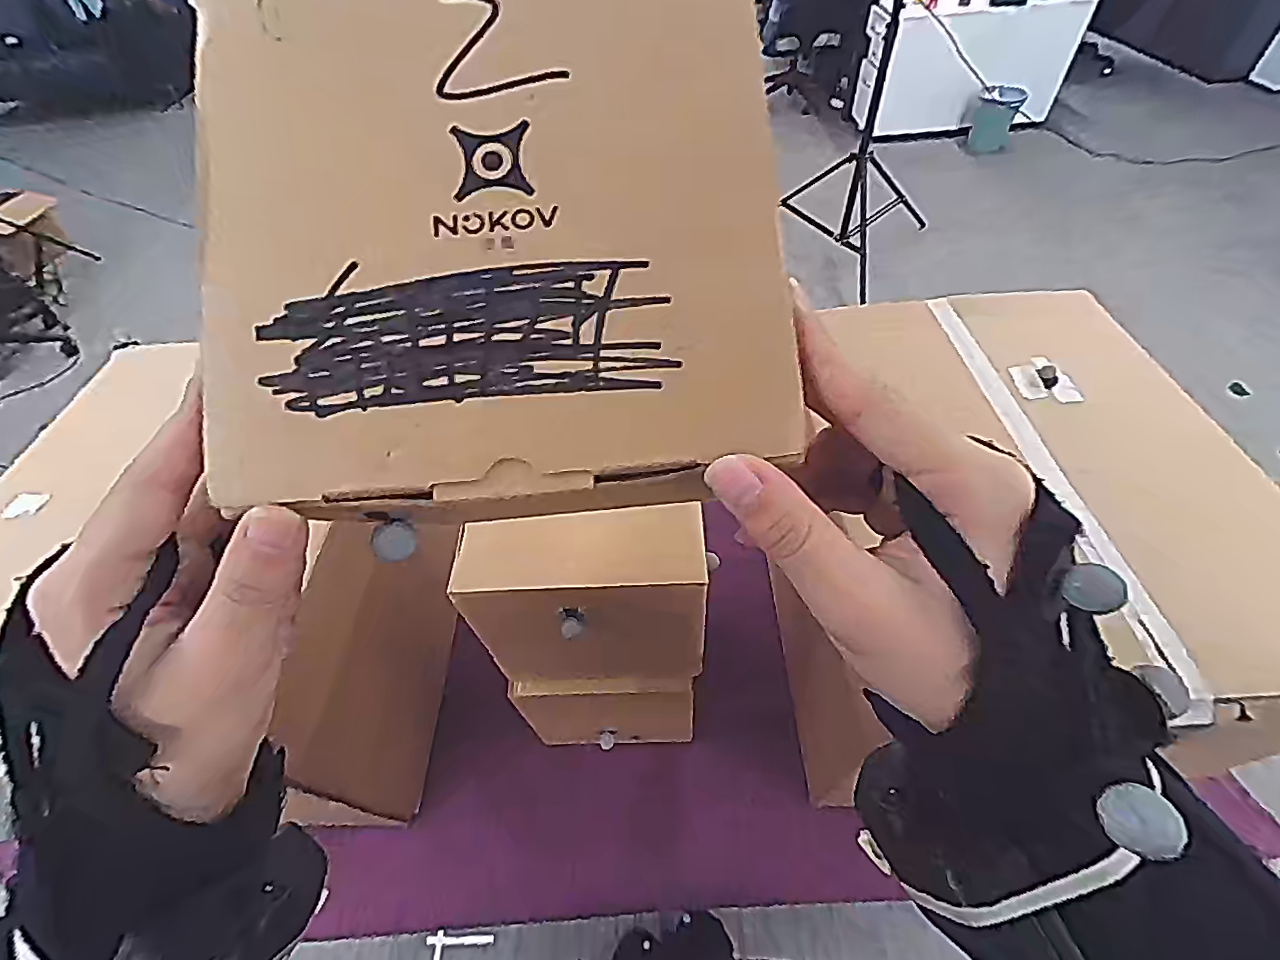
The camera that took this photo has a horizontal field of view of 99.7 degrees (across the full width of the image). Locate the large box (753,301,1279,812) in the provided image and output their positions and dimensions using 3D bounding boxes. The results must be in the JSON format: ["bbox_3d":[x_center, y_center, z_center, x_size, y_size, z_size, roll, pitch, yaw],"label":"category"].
[{"bbox_3d":[0.307,0.074,0.549,0.320,0.320,0.408,-3,49,2],"label":"large box"}]
